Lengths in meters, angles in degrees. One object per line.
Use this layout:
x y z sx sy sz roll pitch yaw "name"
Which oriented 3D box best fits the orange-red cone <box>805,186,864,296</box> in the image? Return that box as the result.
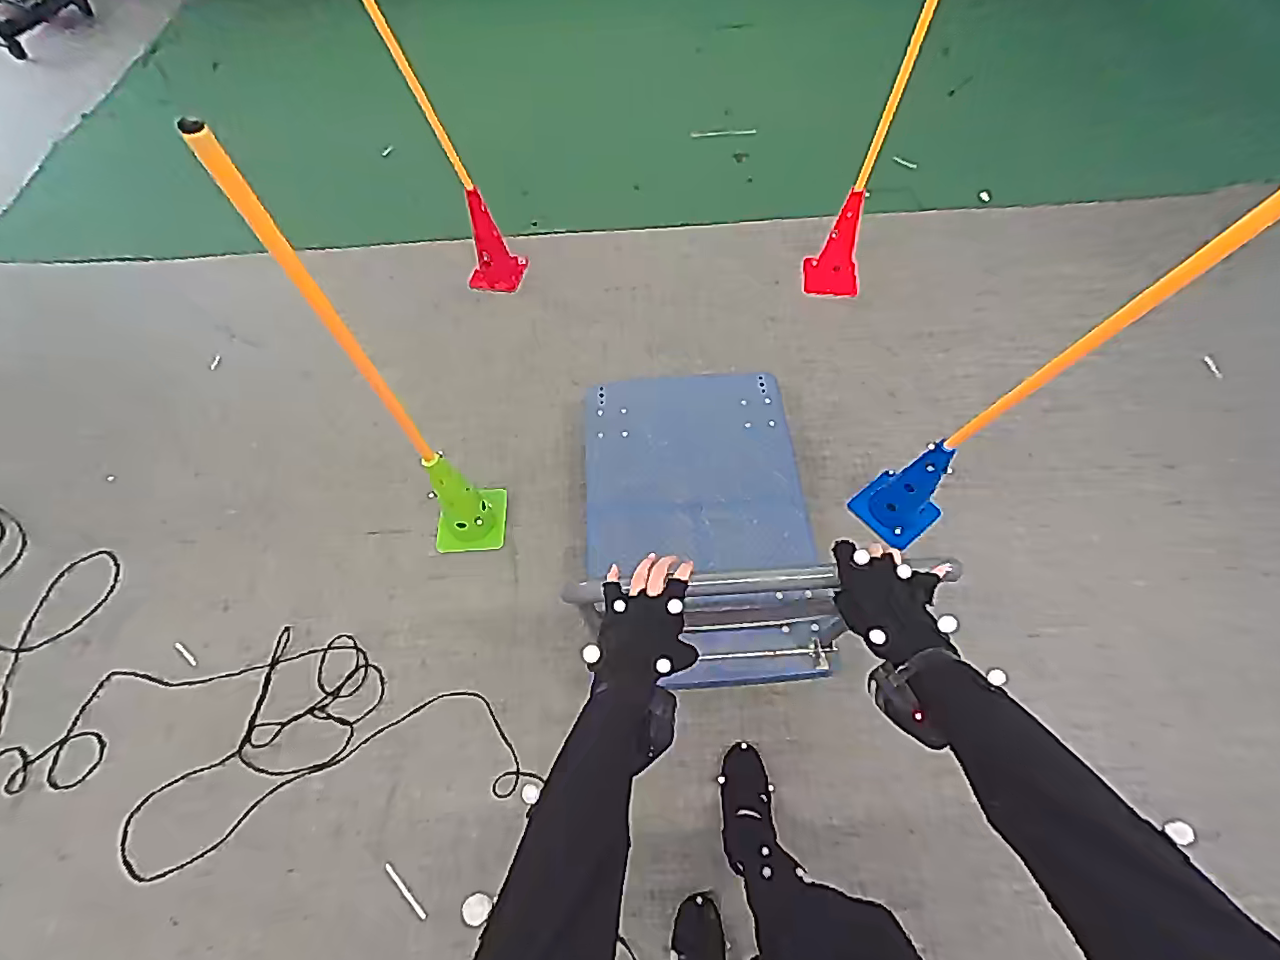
0.719 -0.854 1.899 0.198 0.360 0.199 7 63 8 "orange-red cone"
